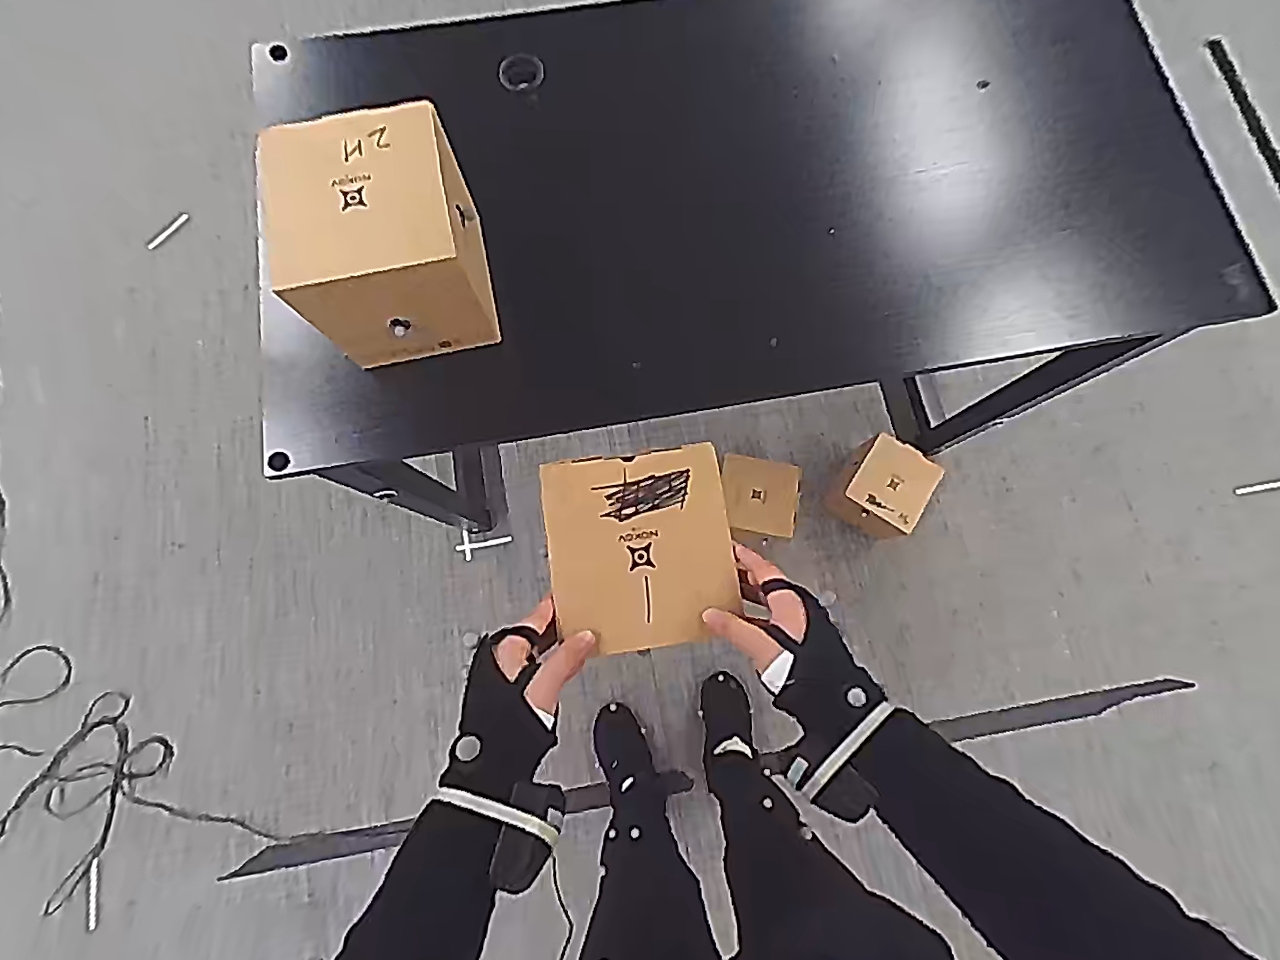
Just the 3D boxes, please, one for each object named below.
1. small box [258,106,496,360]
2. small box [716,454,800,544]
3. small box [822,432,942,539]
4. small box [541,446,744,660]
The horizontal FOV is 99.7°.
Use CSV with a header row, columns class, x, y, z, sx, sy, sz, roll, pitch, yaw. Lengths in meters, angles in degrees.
class,x,y,z,sx,sy,sz,roll,pitch,yaw
small box,-0.262,-0.243,0.574,0.168,0.176,0.179,-12,78,-4
small box,0.255,0.051,1.263,0.179,0.176,0.168,10,78,3
small box,0.557,0.020,1.268,0.168,0.176,0.179,33,80,7
small box,-0.004,0.078,0.561,0.168,0.176,0.179,-8,79,-4
